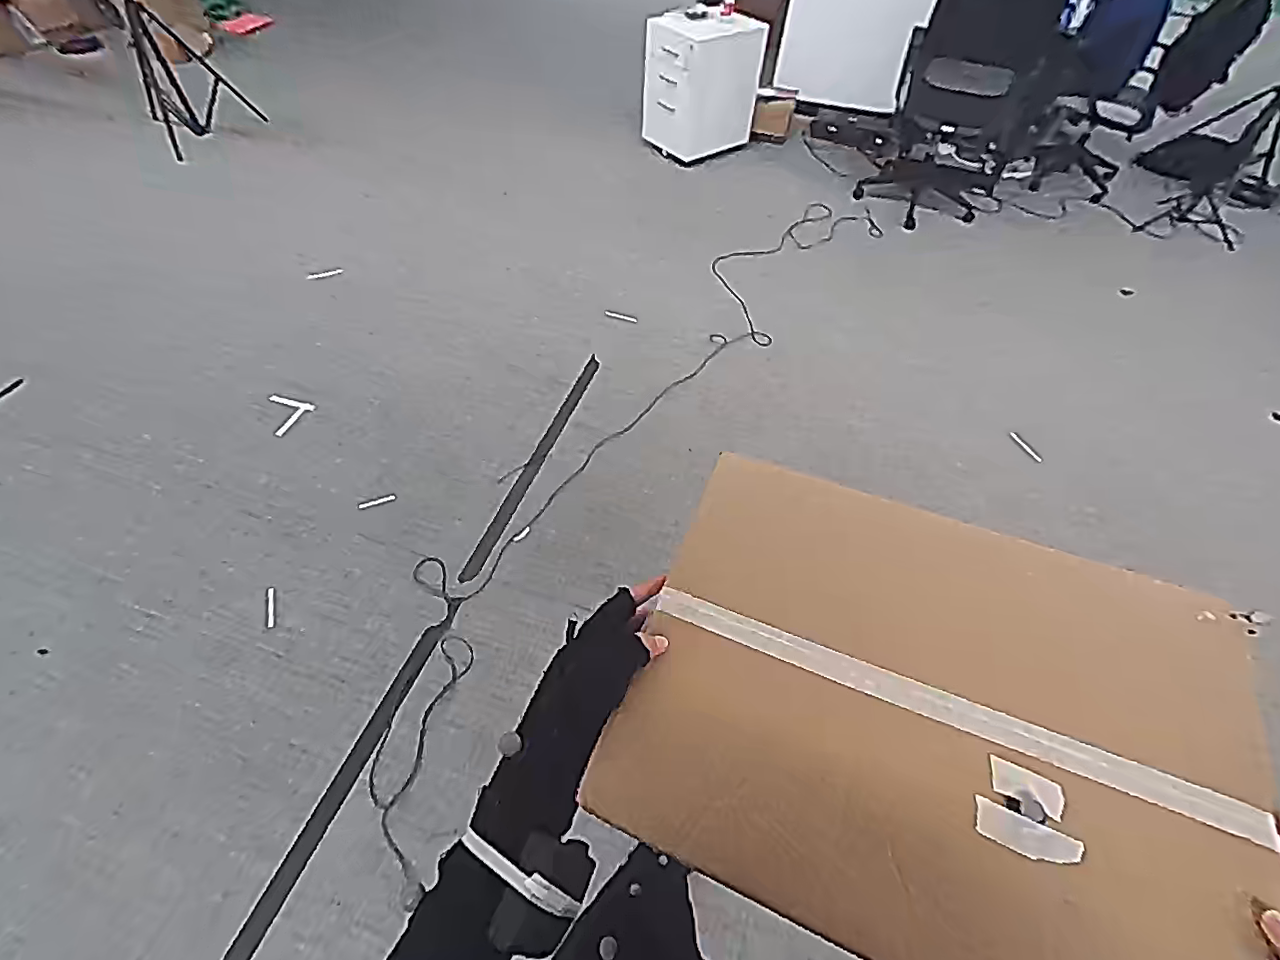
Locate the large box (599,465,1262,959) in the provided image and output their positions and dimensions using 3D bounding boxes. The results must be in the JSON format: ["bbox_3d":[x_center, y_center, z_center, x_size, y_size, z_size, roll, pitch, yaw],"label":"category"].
[{"bbox_3d":[0.217,0.240,0.527,0.408,0.320,0.320,19,62,16],"label":"large box"}]
